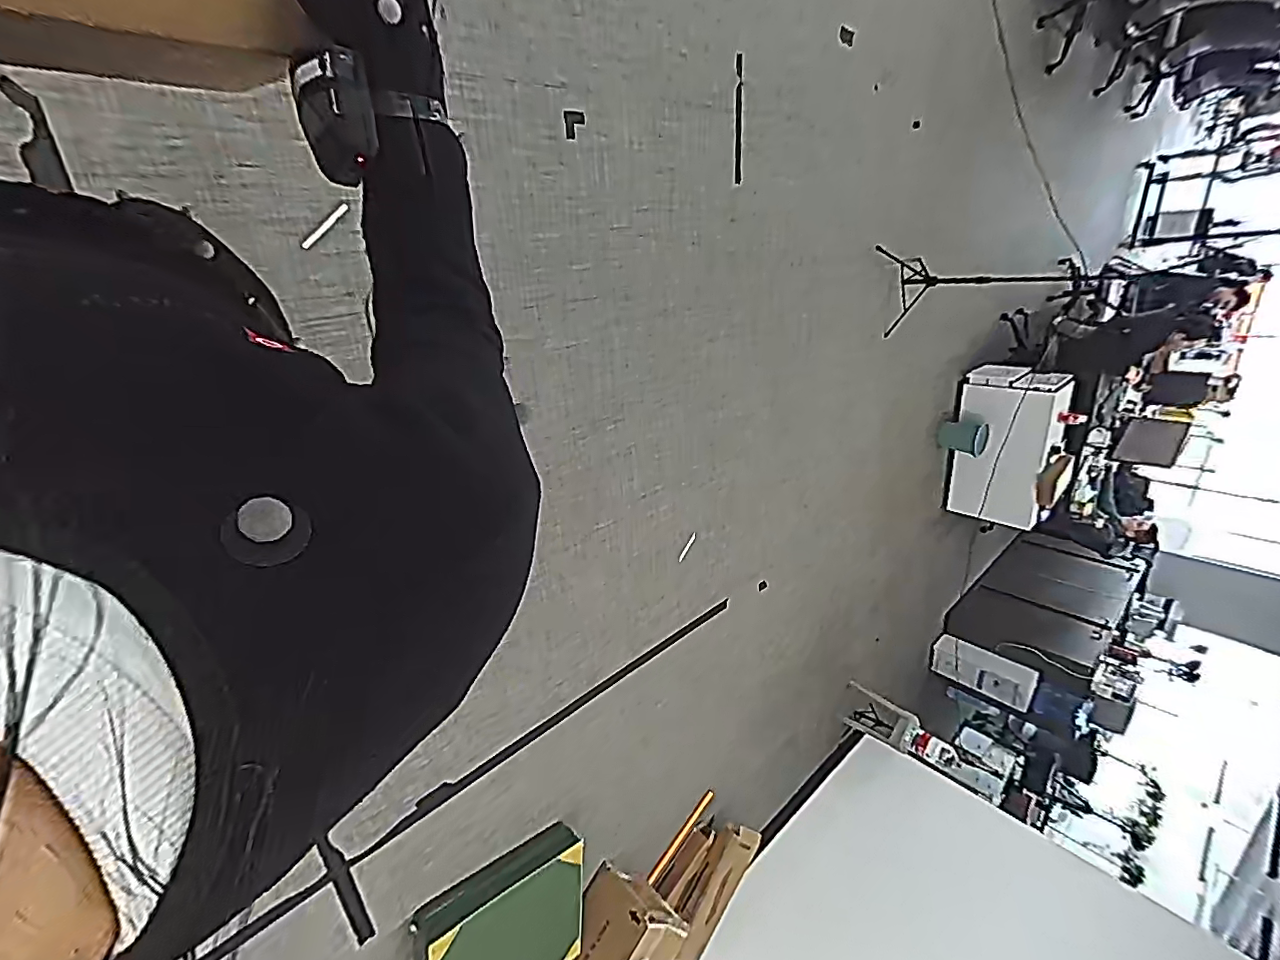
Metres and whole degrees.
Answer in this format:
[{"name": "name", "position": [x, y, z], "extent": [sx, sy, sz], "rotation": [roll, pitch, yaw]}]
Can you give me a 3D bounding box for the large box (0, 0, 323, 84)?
[{"name": "large box", "position": [-0.447, -0.412, 0.258], "extent": [0.408, 0.320, 0.320], "rotation": [-21, 129, -37]}]
